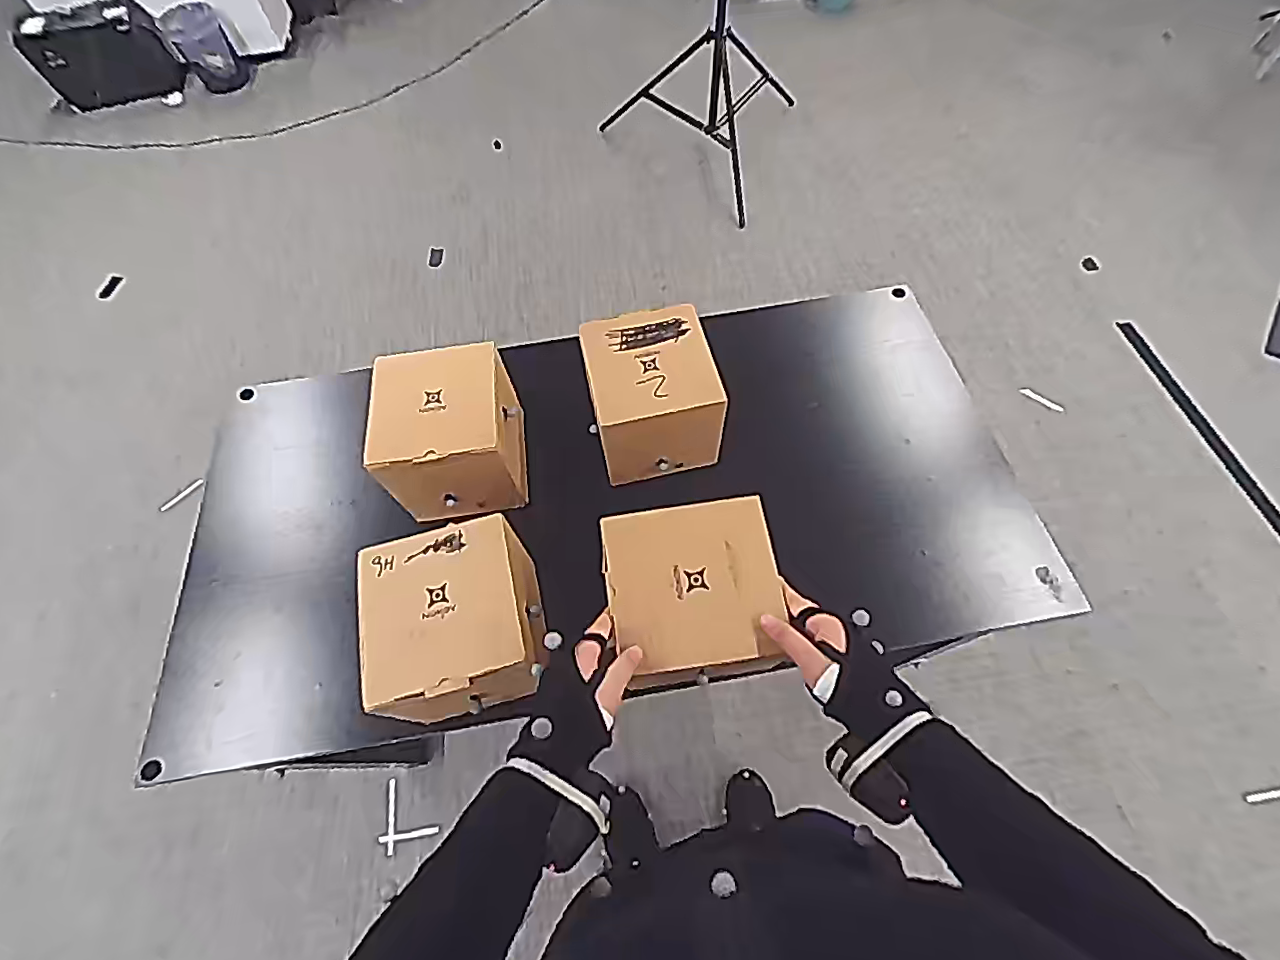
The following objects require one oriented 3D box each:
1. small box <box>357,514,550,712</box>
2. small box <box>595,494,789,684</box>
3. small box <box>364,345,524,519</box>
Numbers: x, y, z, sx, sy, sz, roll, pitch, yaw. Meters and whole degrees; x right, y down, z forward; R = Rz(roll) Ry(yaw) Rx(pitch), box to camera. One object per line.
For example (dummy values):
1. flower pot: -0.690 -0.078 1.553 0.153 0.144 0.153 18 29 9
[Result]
1. small box: -0.214 0.168 0.648 0.168 0.176 0.179 -15 63 -5
2. small box: 0.052 0.133 0.622 0.179 0.176 0.168 -9 66 -1
3. small box: -0.268 -0.064 0.776 0.168 0.176 0.179 -9 62 -2
